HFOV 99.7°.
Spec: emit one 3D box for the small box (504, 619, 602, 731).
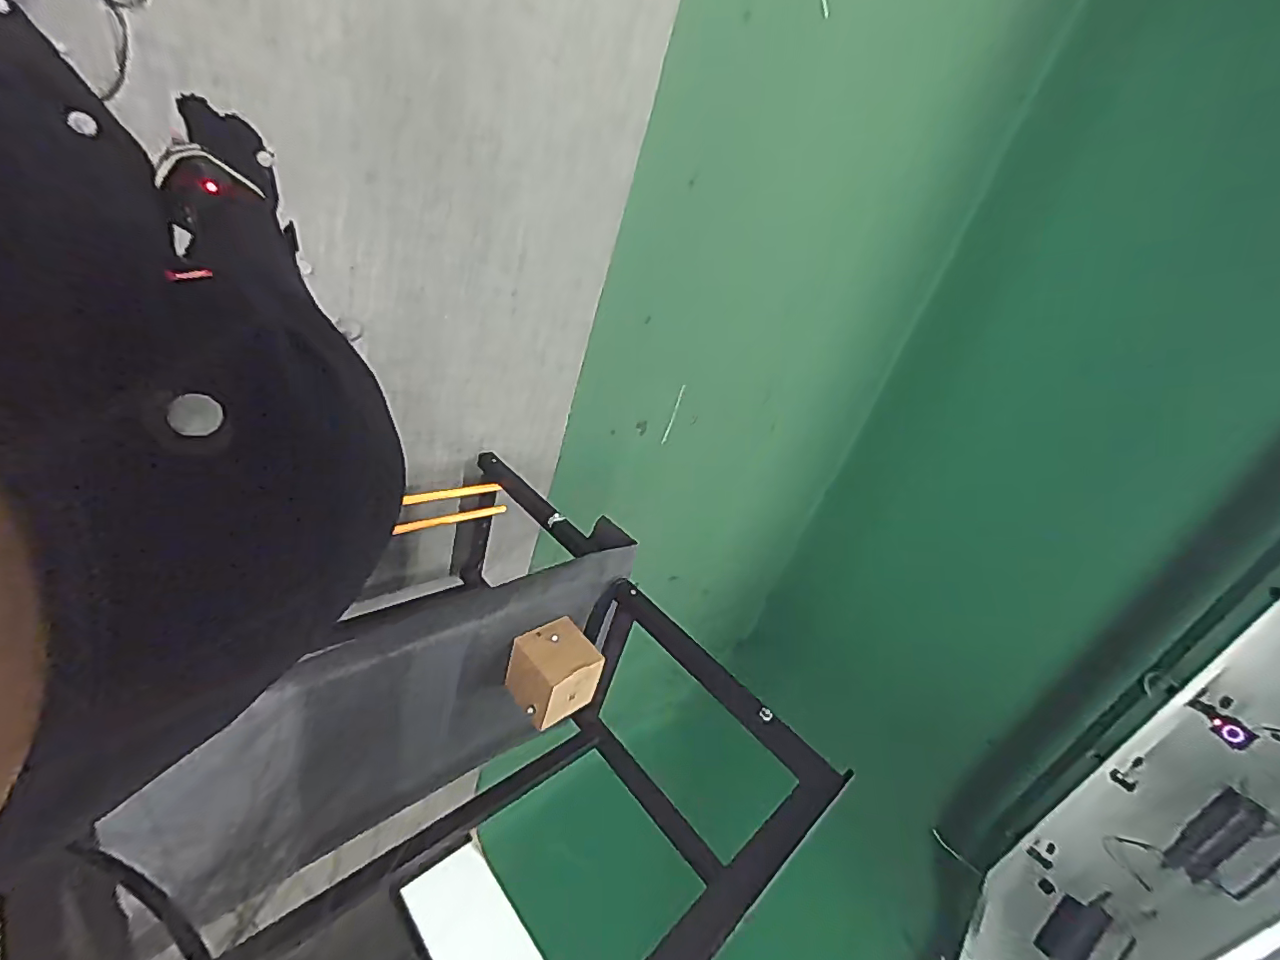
[{"bbox_3d":[-0.227,0.491,1.382,0.168,0.176,0.179,-15,131,-45],"label":"small box"}]
